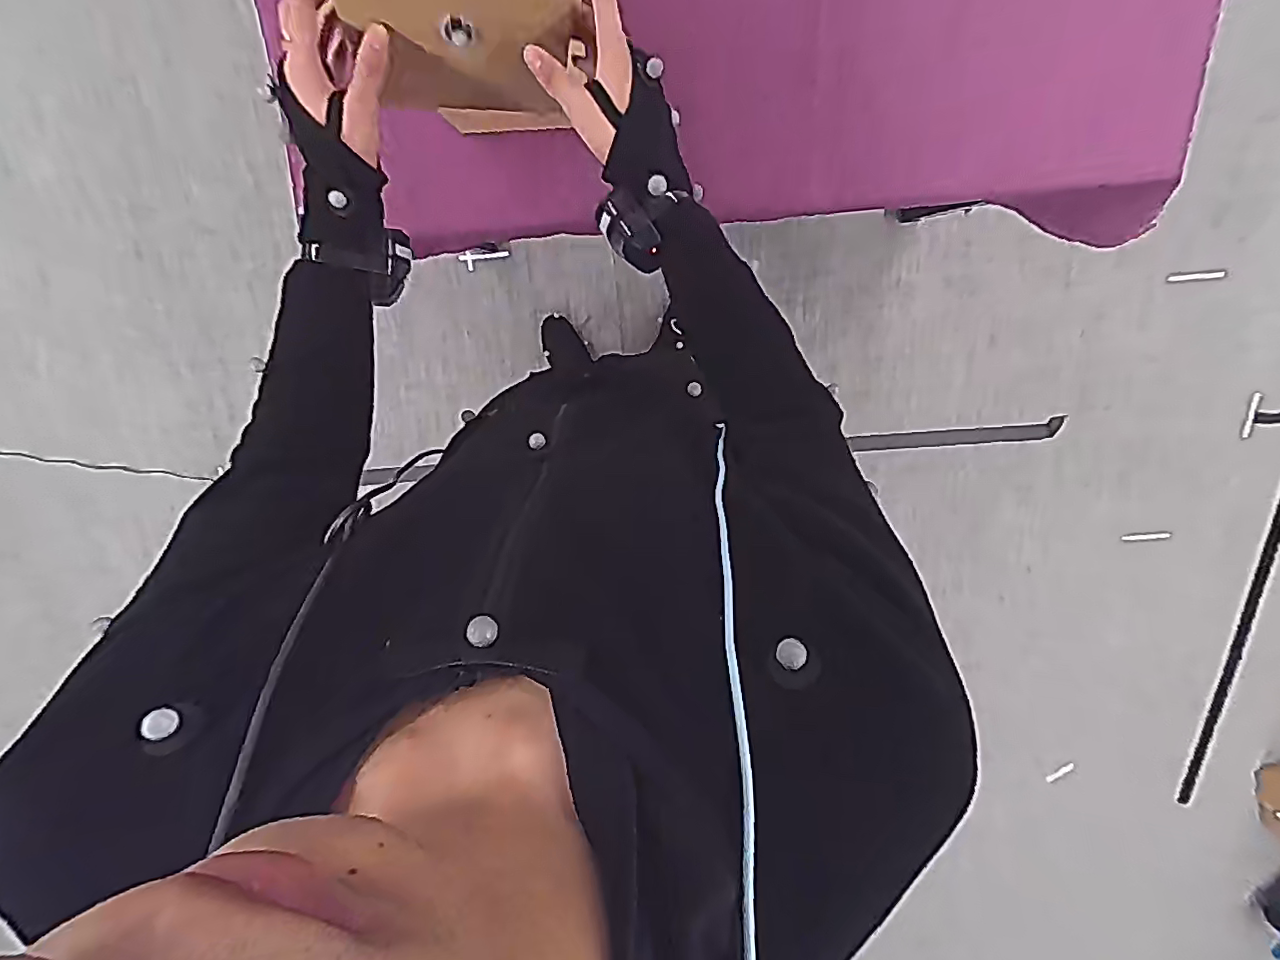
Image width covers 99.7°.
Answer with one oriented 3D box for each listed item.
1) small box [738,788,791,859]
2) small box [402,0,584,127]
[{"bbox_3d":[0.476,1.315,2.084,0.168,0.176,0.179,-3,111,0],"label":"small box"},{"bbox_3d":[-0.157,-0.523,0.620,0.179,0.176,0.168,-3,110,0],"label":"small box"}]
